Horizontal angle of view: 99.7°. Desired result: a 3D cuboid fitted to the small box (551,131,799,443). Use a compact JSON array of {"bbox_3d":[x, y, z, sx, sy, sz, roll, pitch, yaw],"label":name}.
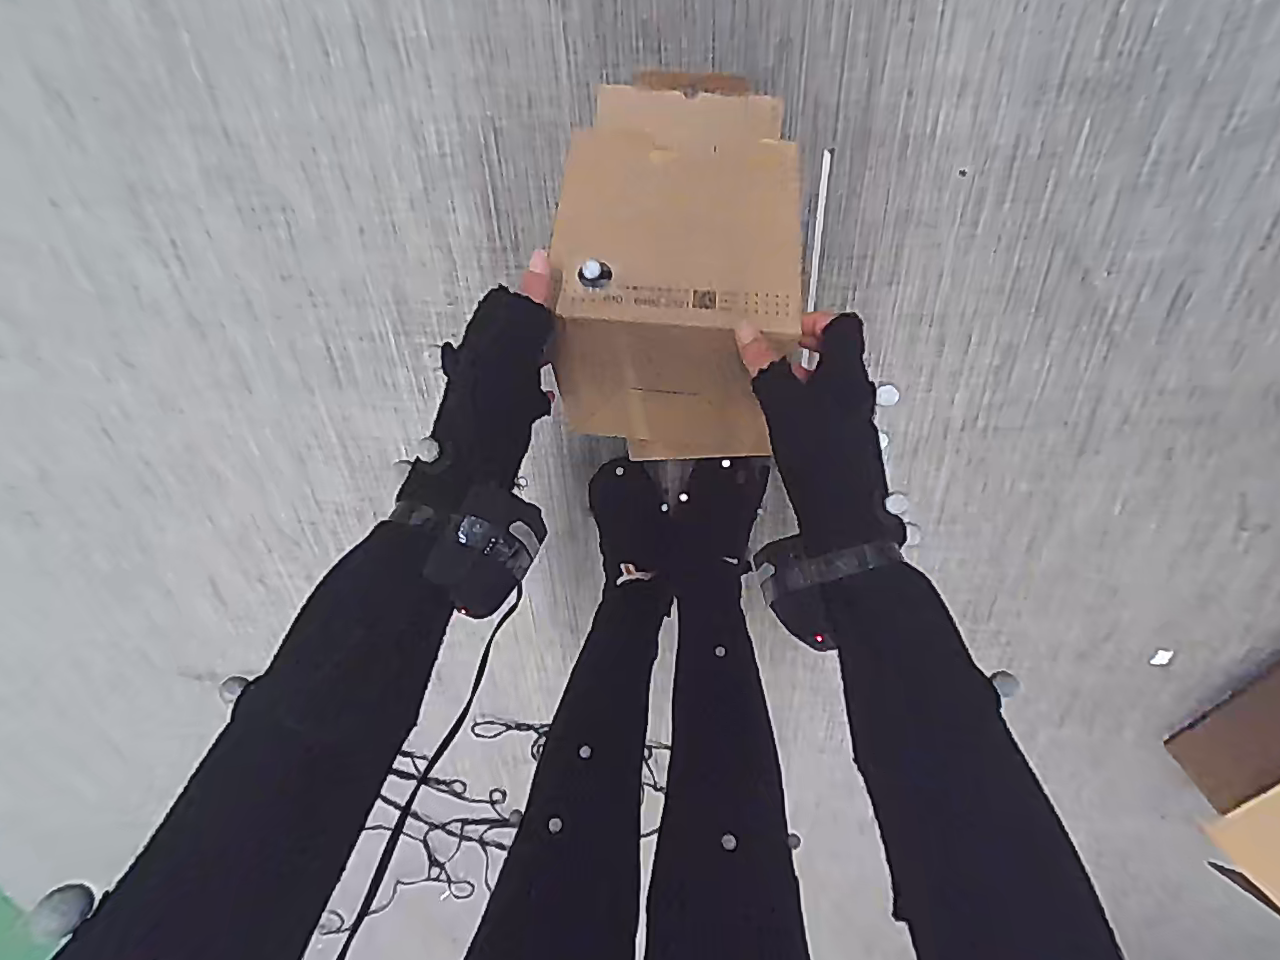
[{"bbox_3d":[0.028,-0.141,0.439,0.168,0.176,0.179,5,160,2],"label":"small box"}]
